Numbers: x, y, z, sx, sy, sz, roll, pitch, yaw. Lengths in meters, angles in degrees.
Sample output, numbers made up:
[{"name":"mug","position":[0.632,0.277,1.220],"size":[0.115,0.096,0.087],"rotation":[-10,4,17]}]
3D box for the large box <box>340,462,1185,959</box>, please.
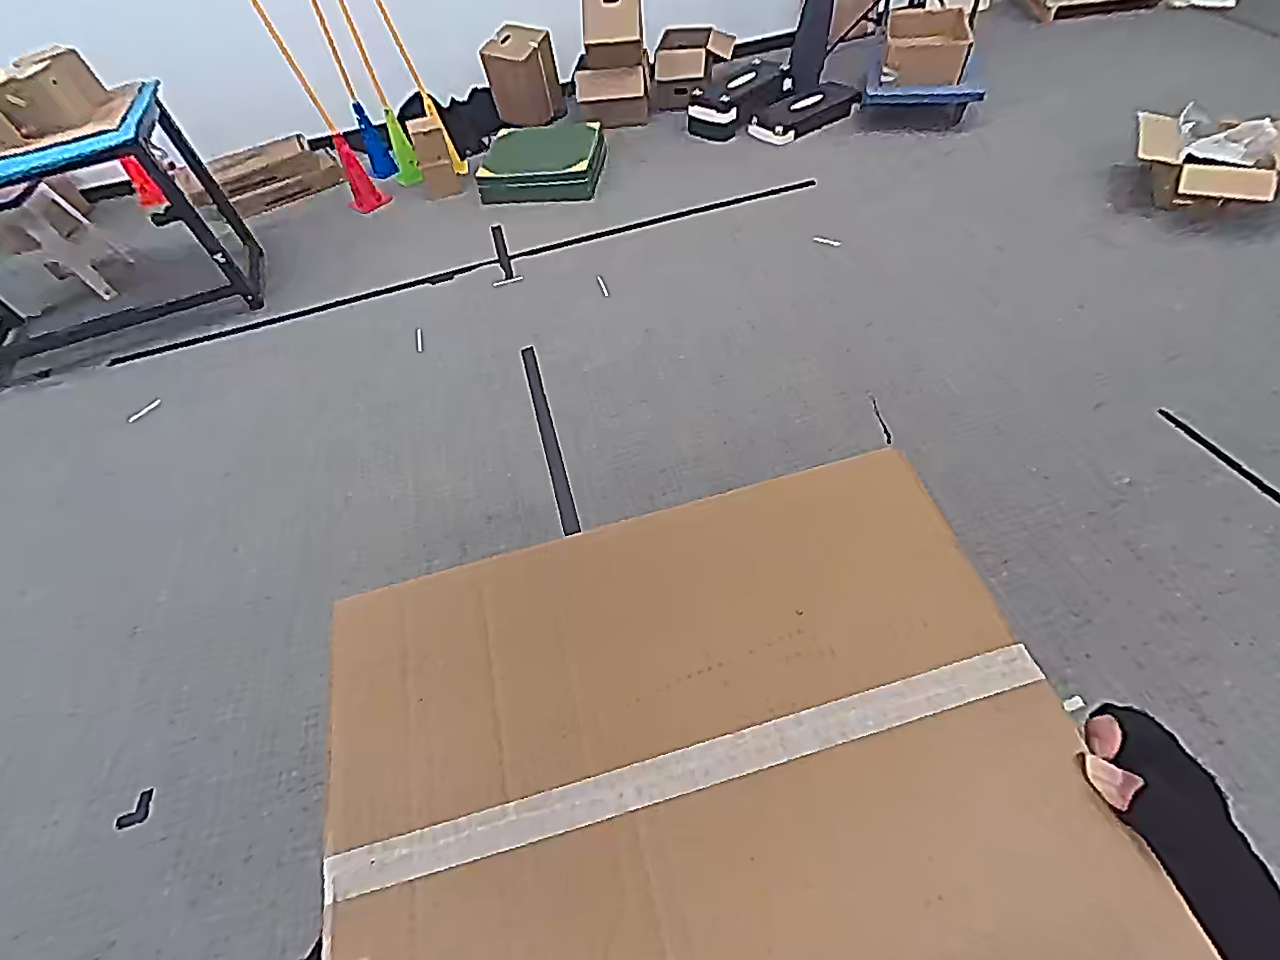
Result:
[{"name":"large box","position":[0.042,0.238,0.437],"size":[0.408,0.320,0.320],"rotation":[-16,59,-3]}]
